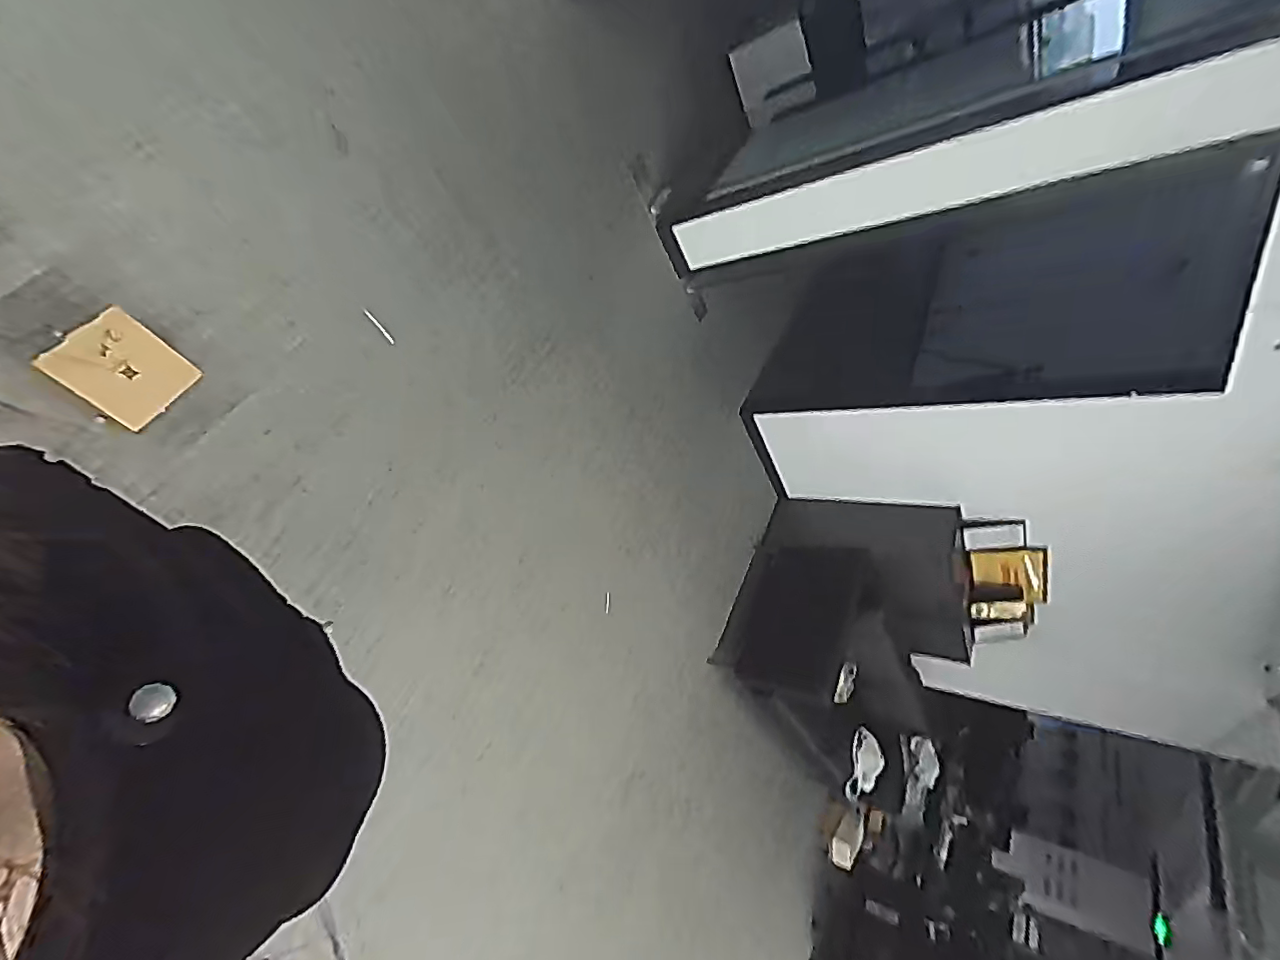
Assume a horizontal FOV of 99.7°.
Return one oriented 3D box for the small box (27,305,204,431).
[{"bbox_3d":[-1.024,-0.214,1.060,0.179,0.176,0.168,55,51,-39],"label":"small box"}]
